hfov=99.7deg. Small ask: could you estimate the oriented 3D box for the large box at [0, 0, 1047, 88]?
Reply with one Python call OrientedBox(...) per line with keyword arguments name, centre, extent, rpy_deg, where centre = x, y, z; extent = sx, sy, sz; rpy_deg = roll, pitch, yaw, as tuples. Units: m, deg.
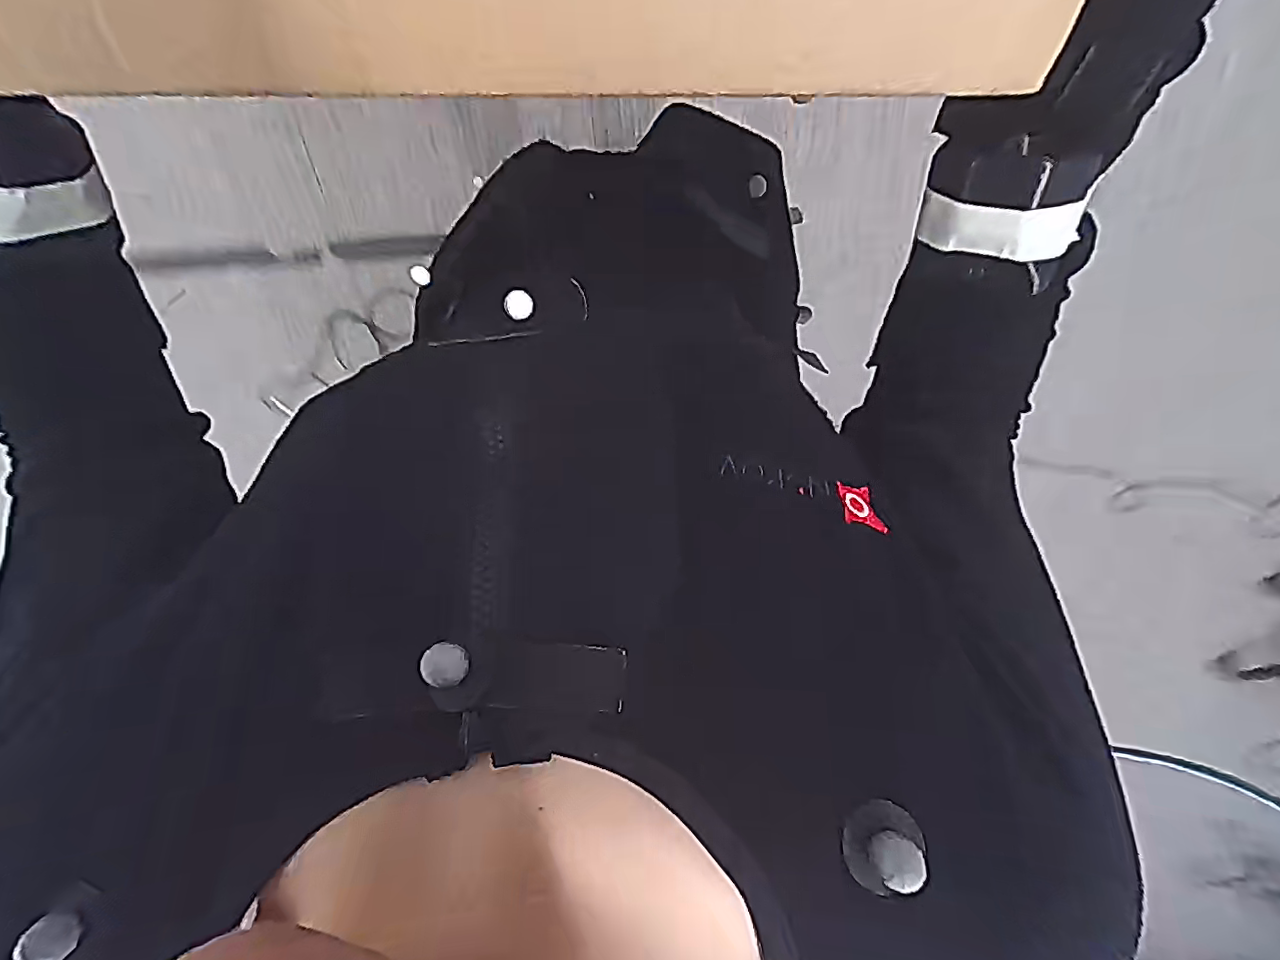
OrientedBox(name="large box", centre=(-0.053, -0.364, 0.179), extent=(0.408, 0.320, 0.320), rpy_deg=(0, 140, -2))
